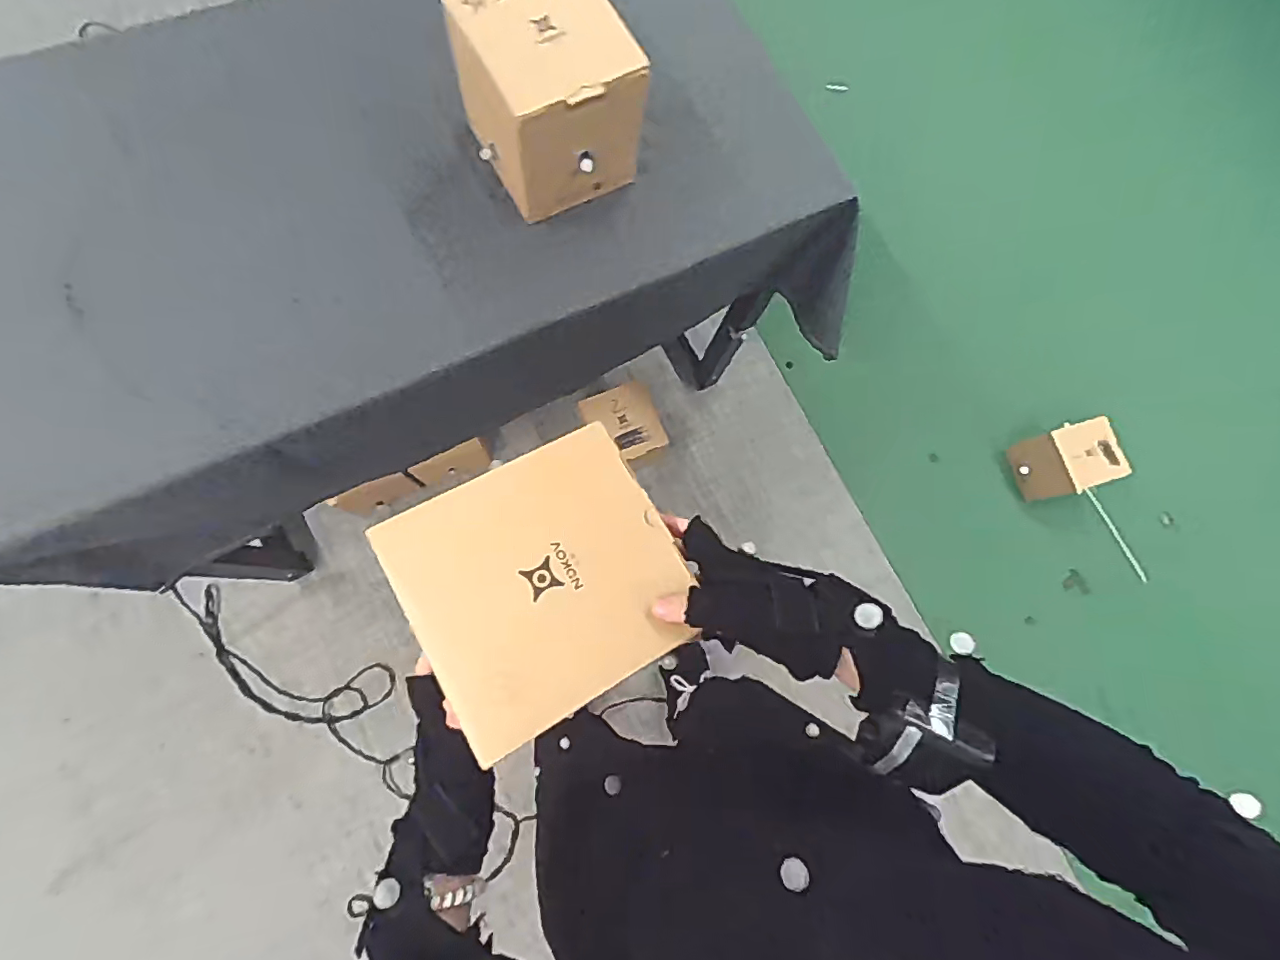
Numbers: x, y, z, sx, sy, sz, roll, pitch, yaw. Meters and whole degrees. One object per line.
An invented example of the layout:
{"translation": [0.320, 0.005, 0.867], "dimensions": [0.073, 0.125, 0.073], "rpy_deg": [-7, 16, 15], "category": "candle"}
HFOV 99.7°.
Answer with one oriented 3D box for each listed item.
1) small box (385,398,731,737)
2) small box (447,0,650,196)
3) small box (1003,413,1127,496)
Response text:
{"translation": [-0.063, 0.070, 0.425], "dimensions": [0.179, 0.176, 0.168], "rpy_deg": [-27, 80, -18], "category": "small box"}
{"translation": [-0.107, -0.481, 0.657], "dimensions": [0.168, 0.176, 0.179], "rpy_deg": [-28, 84, -12], "category": "small box"}
{"translation": [1.152, -0.065, 1.479], "dimensions": [0.179, 0.176, 0.168], "rpy_deg": [-15, 80, -9], "category": "small box"}
